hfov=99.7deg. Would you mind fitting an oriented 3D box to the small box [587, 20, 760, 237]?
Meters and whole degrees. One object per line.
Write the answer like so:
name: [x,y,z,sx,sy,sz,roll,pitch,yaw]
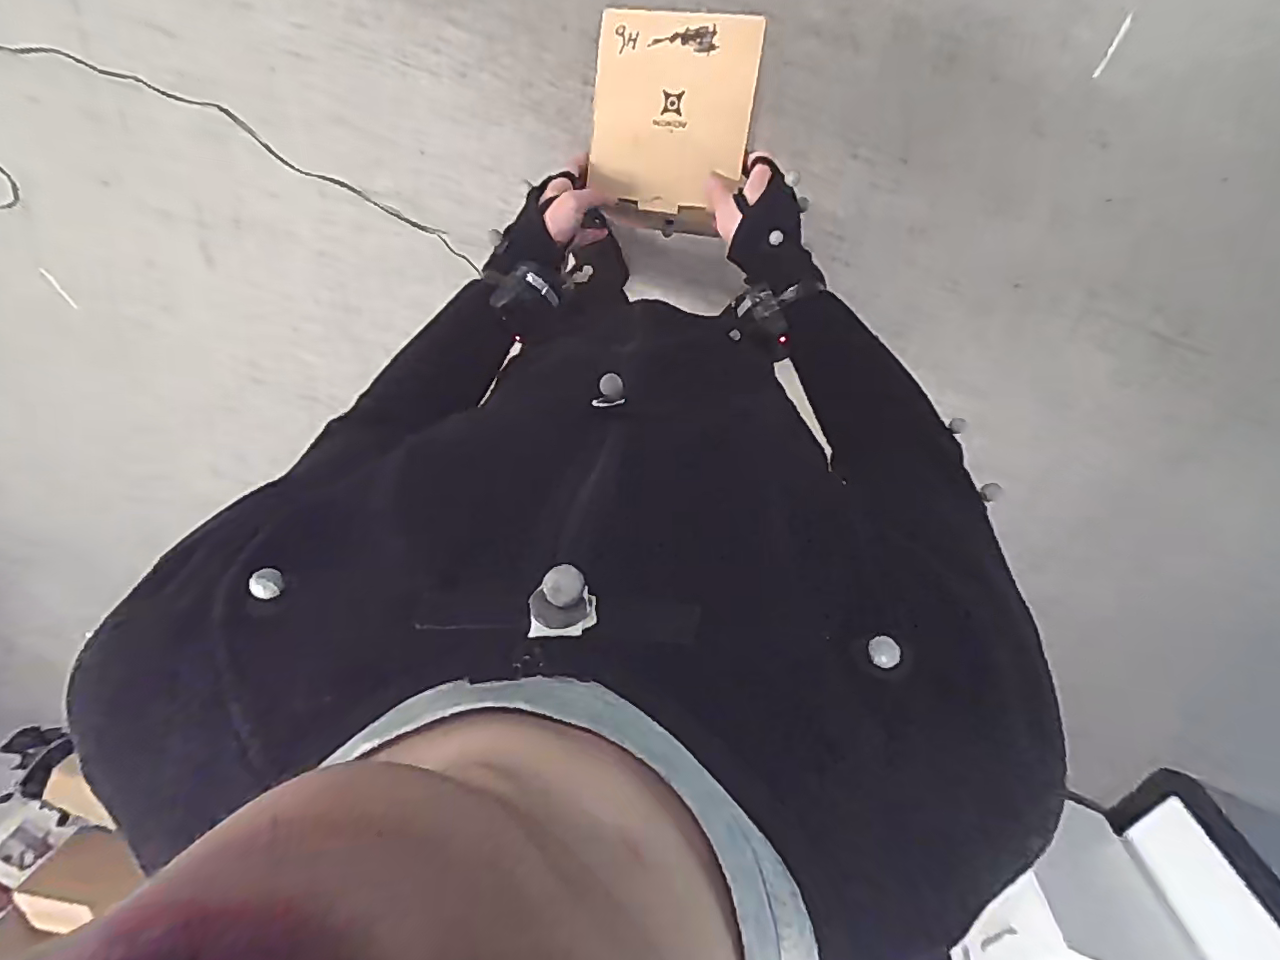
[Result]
small box: [0.046,-0.396,0.640,0.168,0.176,0.179,10,108,9]
